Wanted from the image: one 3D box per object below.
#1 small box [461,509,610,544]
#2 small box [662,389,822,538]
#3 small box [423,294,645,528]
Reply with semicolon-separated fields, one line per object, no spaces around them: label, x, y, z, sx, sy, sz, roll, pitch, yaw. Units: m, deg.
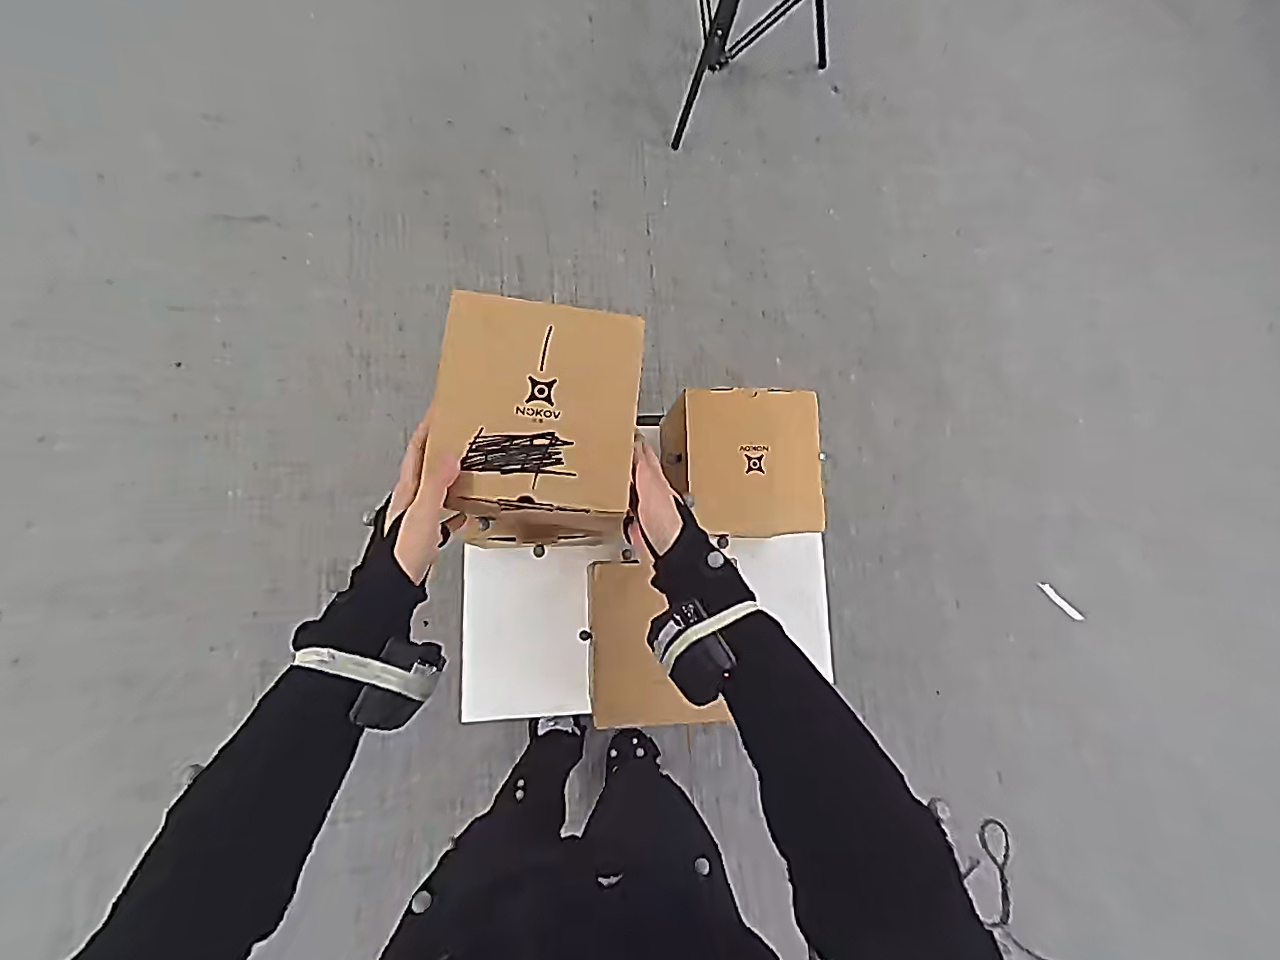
small box;-0.125;-0.009;0.682;0.168;0.176;0.179;-1;82;-9
small box;0.124;-0.012;0.719;0.168;0.176;0.179;-1;81;-8
small box;-0.093;-0.050;0.525;0.168;0.176;0.179;6;79;-7
